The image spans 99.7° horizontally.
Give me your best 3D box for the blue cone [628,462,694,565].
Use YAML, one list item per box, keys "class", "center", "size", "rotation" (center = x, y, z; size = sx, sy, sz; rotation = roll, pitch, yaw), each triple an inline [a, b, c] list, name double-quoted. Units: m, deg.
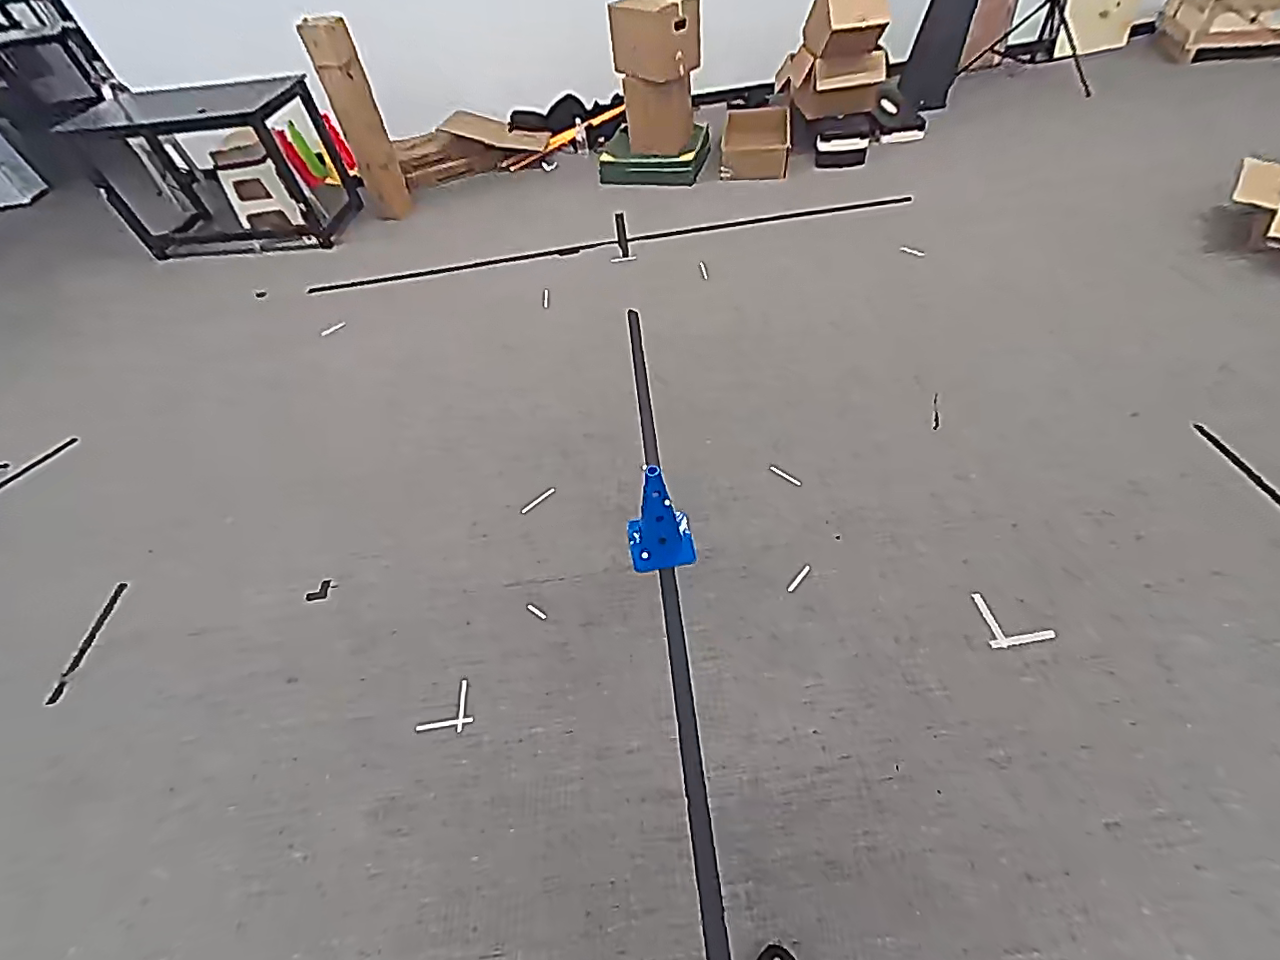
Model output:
- class: "blue cone"
  center: [0.054, 0.073, 1.587]
  size: [0.192, 0.380, 0.193]
  rotation: [-12, 52, -3]
